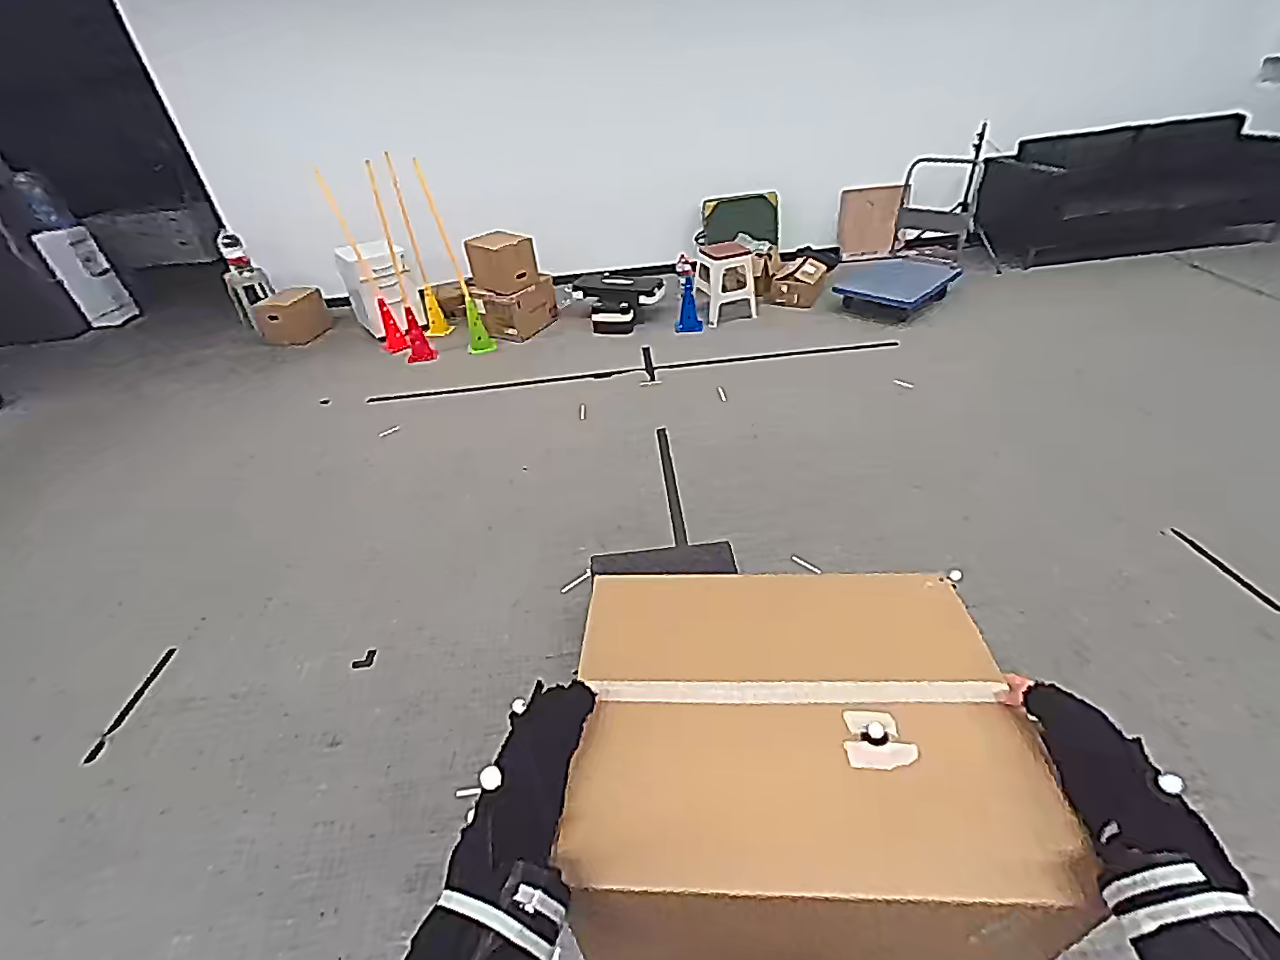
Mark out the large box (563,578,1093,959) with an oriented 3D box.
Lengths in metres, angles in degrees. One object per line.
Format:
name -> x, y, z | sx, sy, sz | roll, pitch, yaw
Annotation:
large box -> 0.149, 0.332, 0.611 | 0.408, 0.320, 0.320 | -2, 36, 4
